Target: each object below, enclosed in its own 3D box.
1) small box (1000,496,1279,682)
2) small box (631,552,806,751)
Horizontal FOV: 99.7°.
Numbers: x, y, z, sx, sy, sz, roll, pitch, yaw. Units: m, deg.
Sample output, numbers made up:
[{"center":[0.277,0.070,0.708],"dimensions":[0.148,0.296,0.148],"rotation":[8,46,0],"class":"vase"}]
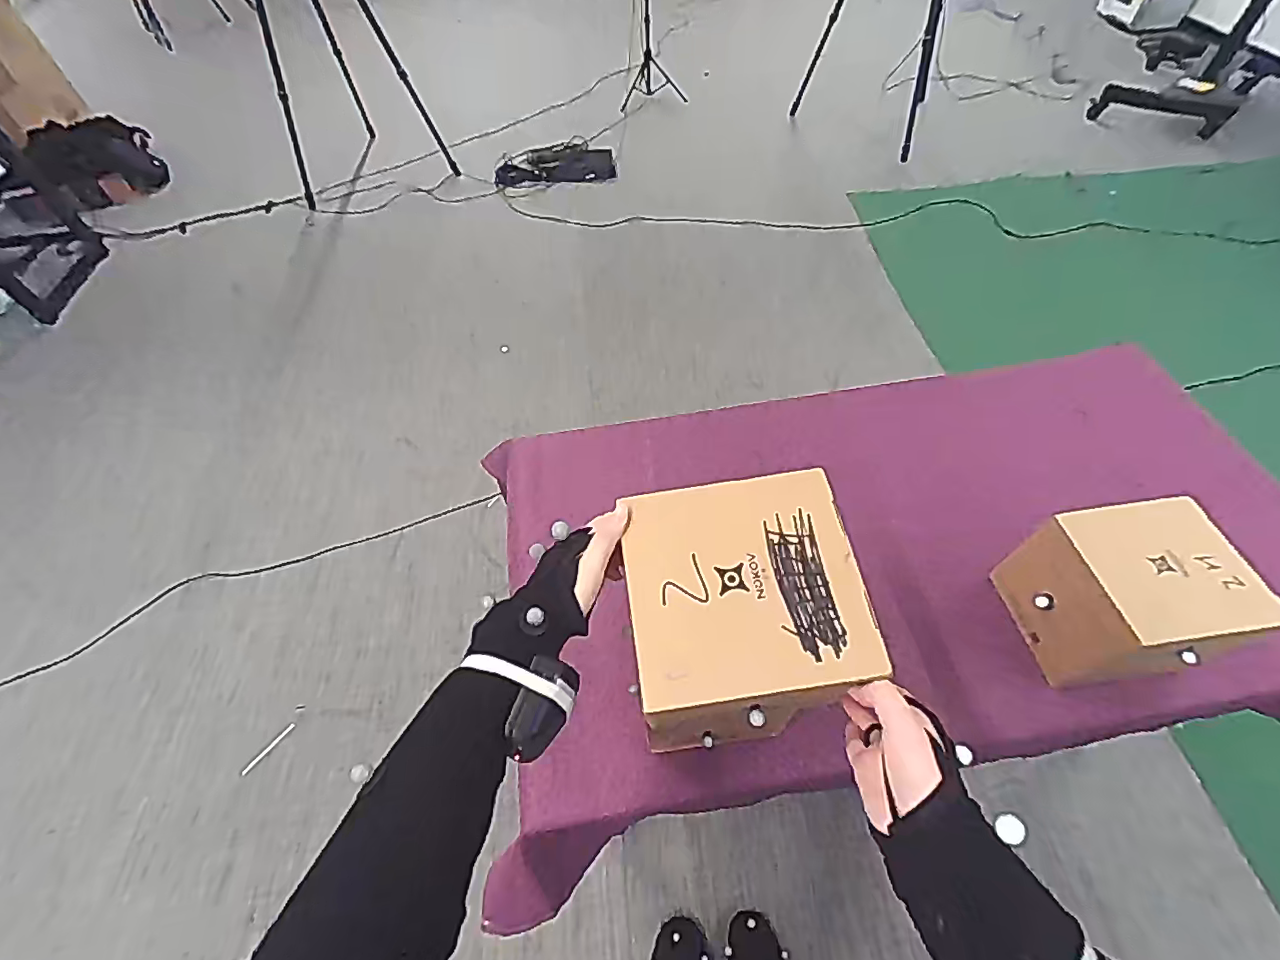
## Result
[{"center":[0.597,0.142,0.680],"dimensions":[0.179,0.176,0.168],"rotation":[-8,55,-3],"class":"small box"},{"center":[0.080,0.211,0.658],"dimensions":[0.168,0.176,0.179],"rotation":[-8,55,-3],"class":"small box"}]
